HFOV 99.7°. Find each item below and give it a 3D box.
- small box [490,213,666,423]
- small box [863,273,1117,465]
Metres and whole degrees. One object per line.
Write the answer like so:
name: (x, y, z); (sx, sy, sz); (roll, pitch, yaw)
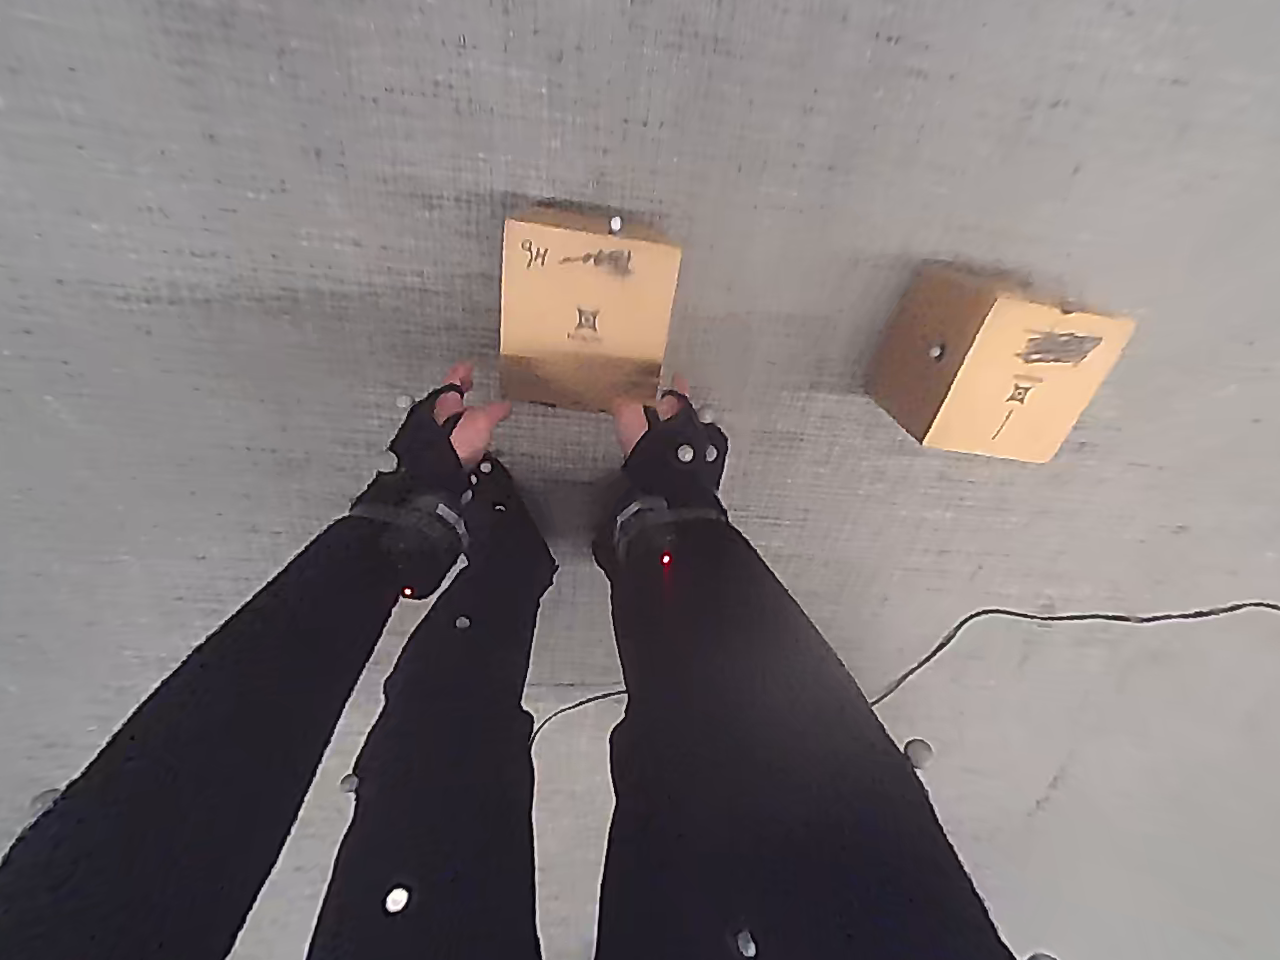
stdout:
small box: (-0.070, -0.187, 0.613); (0.168, 0.176, 0.179); (6, 121, -7)
small box: (0.402, -0.142, 0.663); (0.168, 0.176, 0.179); (7, 122, -6)
